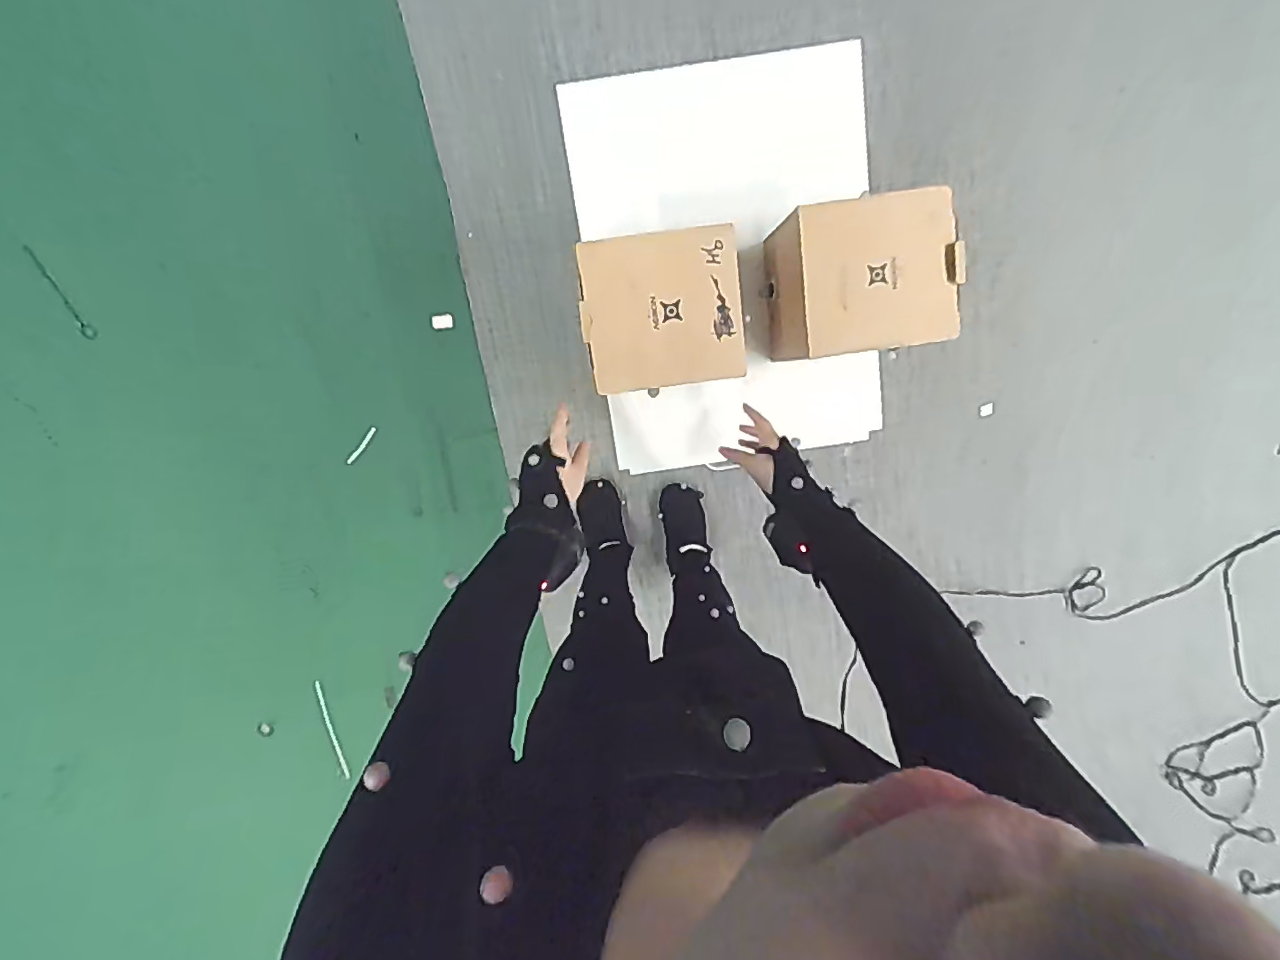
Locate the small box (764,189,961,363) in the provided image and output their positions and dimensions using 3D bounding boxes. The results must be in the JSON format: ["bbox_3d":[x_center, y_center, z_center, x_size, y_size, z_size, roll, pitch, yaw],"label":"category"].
[{"bbox_3d":[0.266,-0.240,0.674,0.179,0.176,0.168,-8,101,1],"label":"small box"}]

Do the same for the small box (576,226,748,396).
[{"bbox_3d":[0.023,-0.198,0.670,0.179,0.176,0.168,-8,102,-2],"label":"small box"}]
